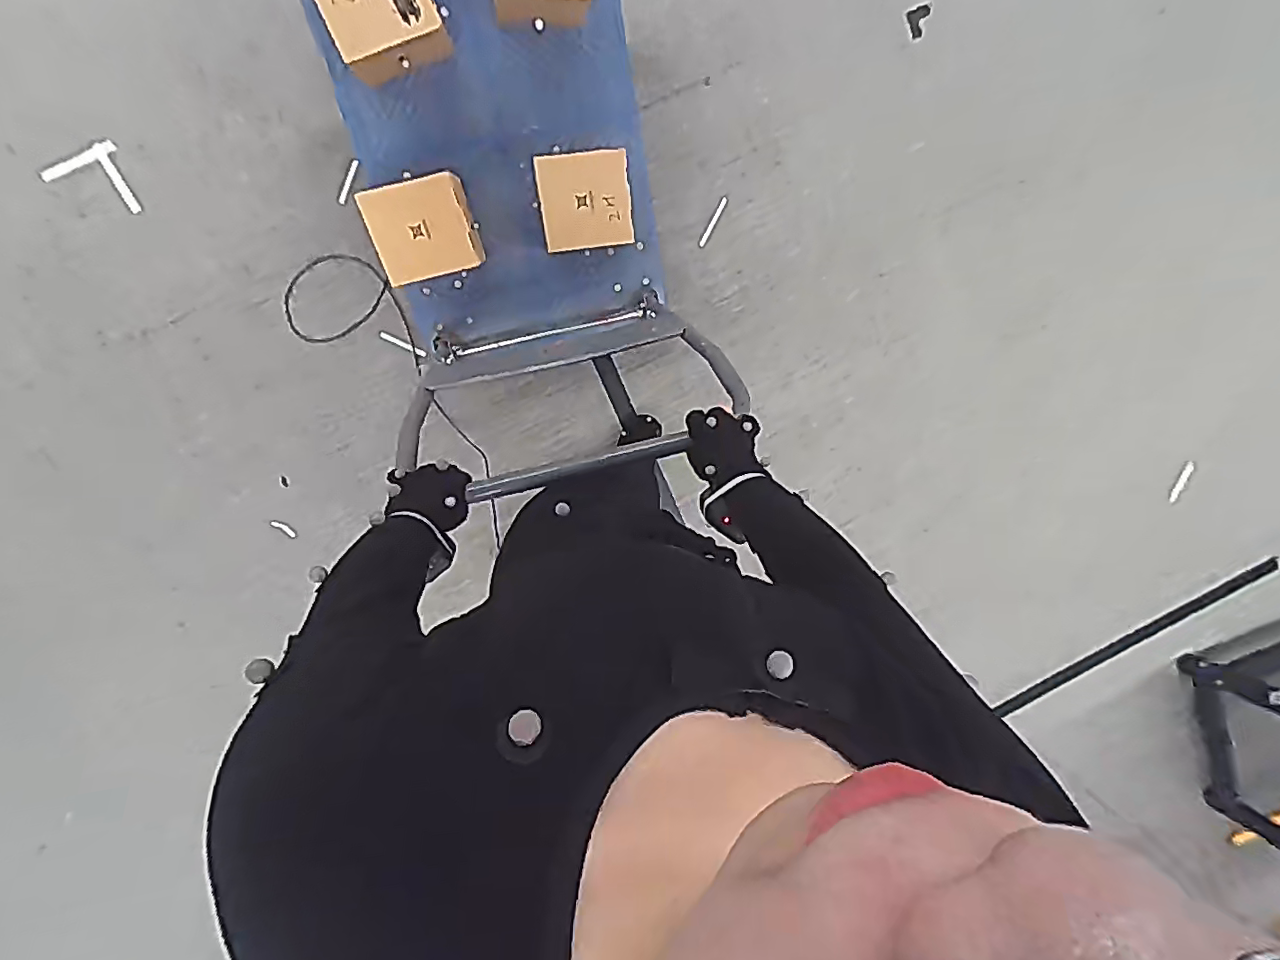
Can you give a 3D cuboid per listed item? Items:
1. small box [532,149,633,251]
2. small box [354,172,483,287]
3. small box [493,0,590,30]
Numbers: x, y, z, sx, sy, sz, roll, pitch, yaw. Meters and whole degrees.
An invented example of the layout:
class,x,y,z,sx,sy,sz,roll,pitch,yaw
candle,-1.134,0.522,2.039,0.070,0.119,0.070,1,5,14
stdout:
class,x,y,z,sx,sy,sz,roll,pitch,yaw
small box,-0.118,-0.565,1.103,0.179,0.176,0.168,-10,117,-7
small box,-0.426,-0.493,1.074,0.179,0.176,0.168,-17,117,-5
small box,-0.177,-0.915,0.929,0.168,0.176,0.179,-5,116,-9
